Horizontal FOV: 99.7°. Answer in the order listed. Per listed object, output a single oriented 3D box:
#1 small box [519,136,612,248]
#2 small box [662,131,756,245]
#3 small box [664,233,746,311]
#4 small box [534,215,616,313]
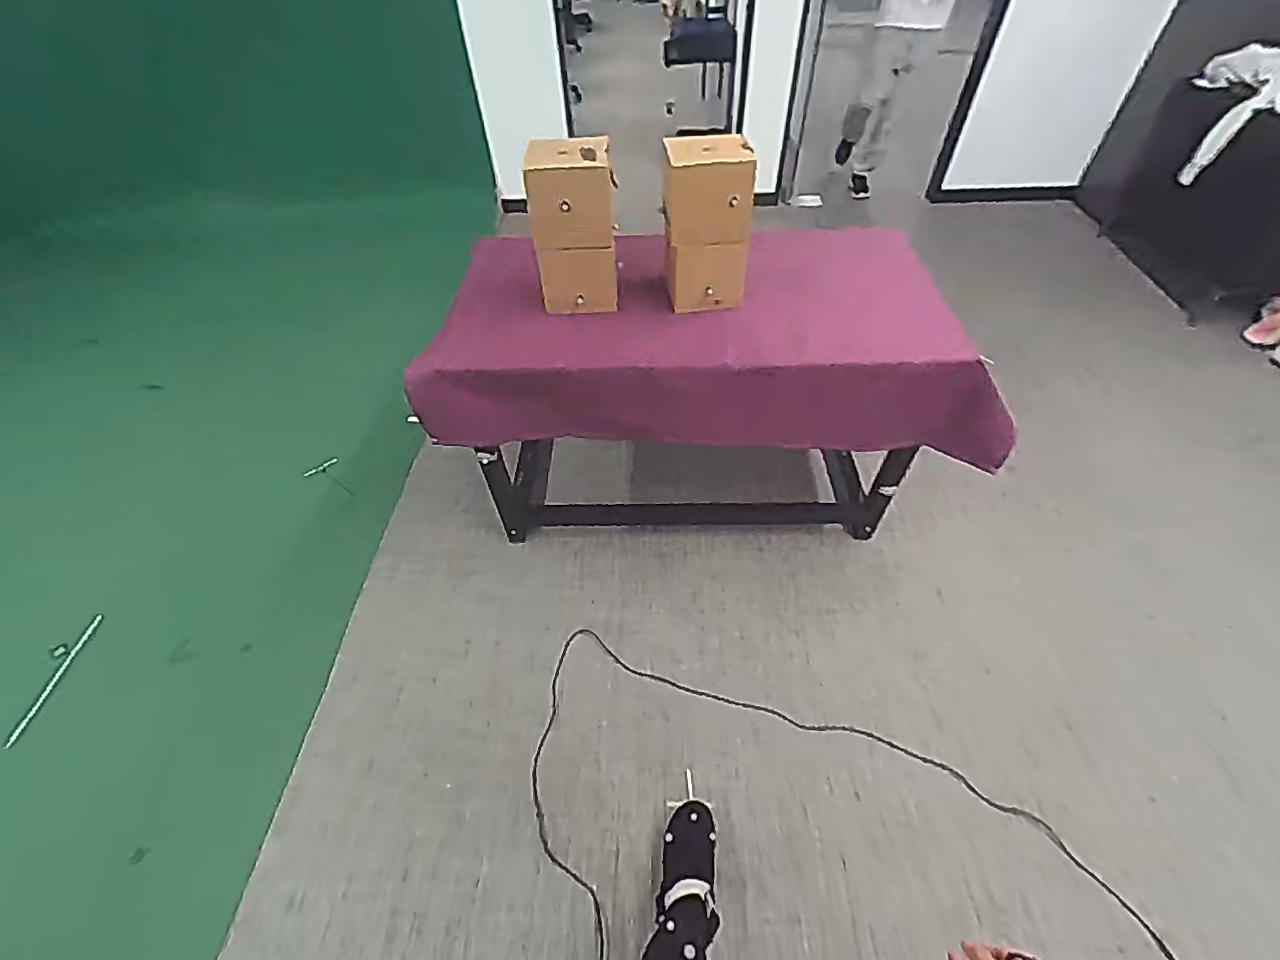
[{"bbox_3d":[-0.154,-0.629,1.188,0.179,0.176,0.168,-3,51,1],"label":"small box"},{"bbox_3d":[0.141,-0.636,1.184,0.179,0.176,0.168,-5,50,-1],"label":"small box"},{"bbox_3d":[0.149,-0.535,1.313,0.168,0.176,0.179,-7,51,-2],"label":"small box"},{"bbox_3d":[-0.150,-0.524,1.315,0.179,0.176,0.168,-2,50,0],"label":"small box"}]
